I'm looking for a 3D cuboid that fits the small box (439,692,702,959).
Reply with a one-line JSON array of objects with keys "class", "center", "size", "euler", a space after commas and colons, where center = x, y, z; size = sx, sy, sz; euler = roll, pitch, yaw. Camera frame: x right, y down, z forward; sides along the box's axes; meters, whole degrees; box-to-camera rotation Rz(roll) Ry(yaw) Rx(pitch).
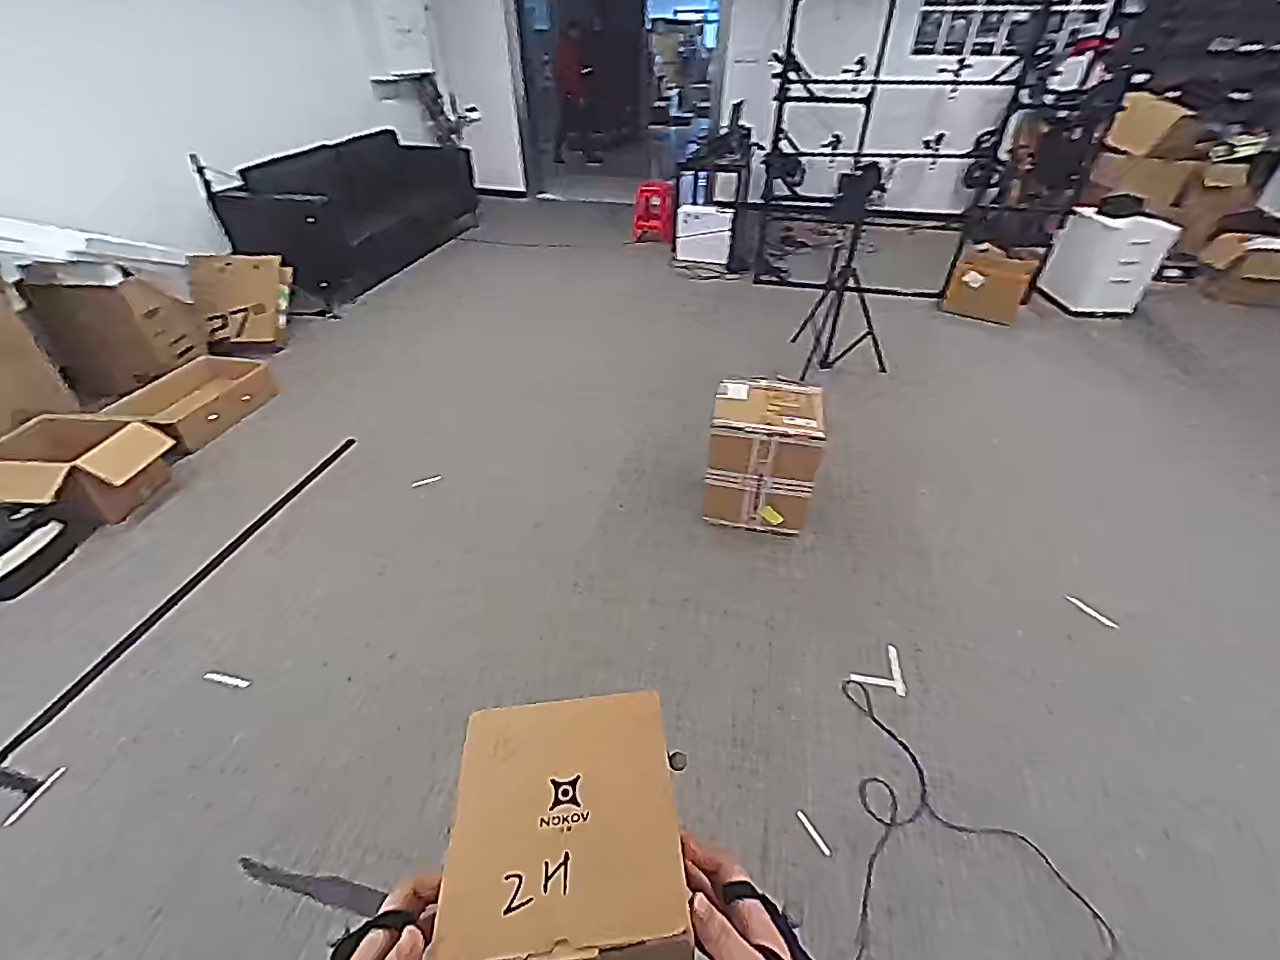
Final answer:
[{"class": "small box", "center": [-0.045, 0.306, 0.445], "size": [0.168, 0.176, 0.179], "euler": [-6, 36, -2]}]
